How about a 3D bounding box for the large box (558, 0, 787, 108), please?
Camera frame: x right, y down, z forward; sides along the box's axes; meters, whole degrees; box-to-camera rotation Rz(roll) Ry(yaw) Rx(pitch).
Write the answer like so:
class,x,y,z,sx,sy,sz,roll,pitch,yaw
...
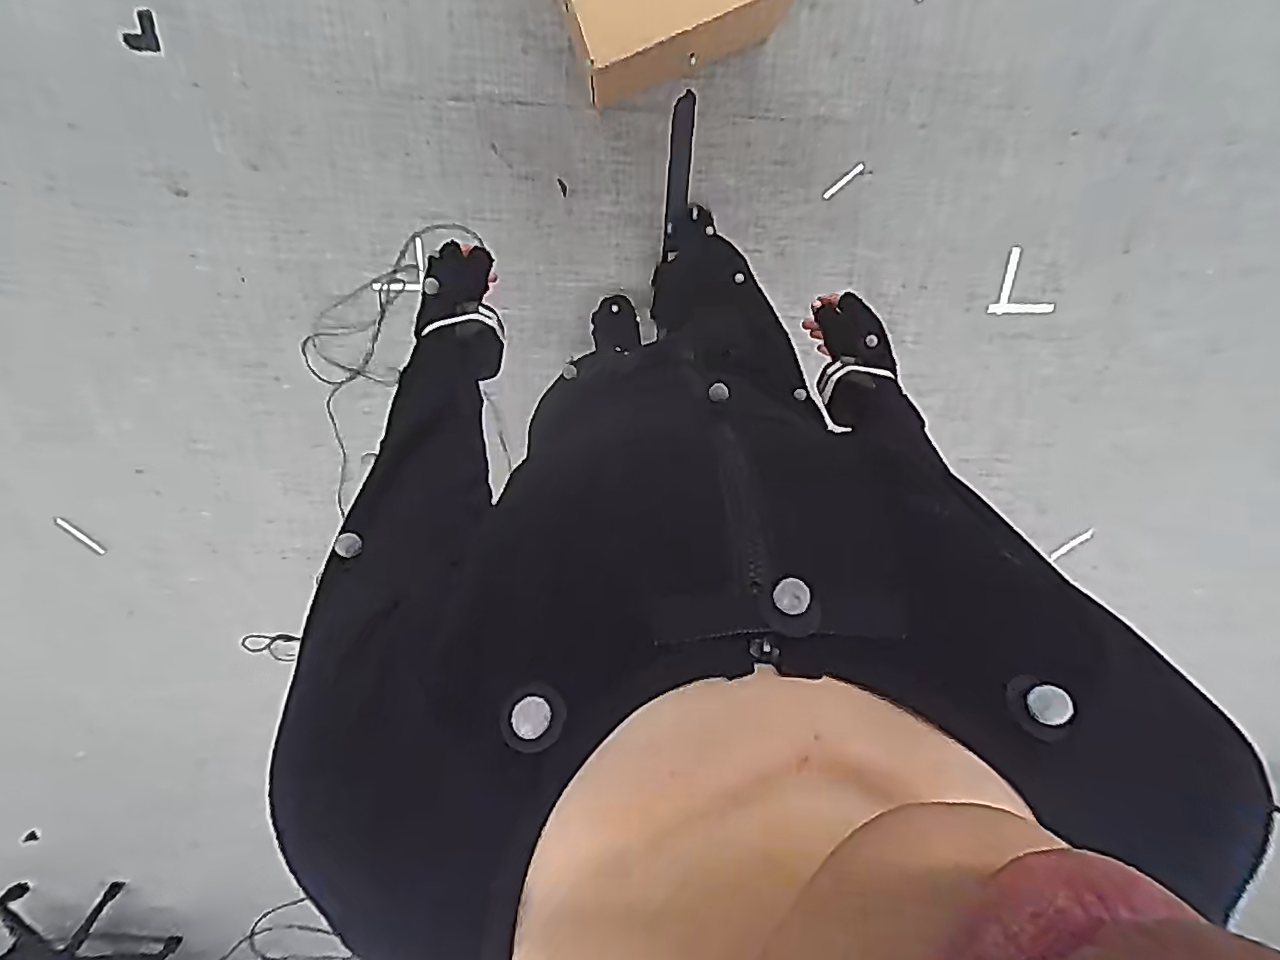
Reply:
class,x,y,z,sx,sy,sz,roll,pitch,yaw
large box,0.042,-0.959,0.989,0.408,0.320,0.320,-20,112,6
